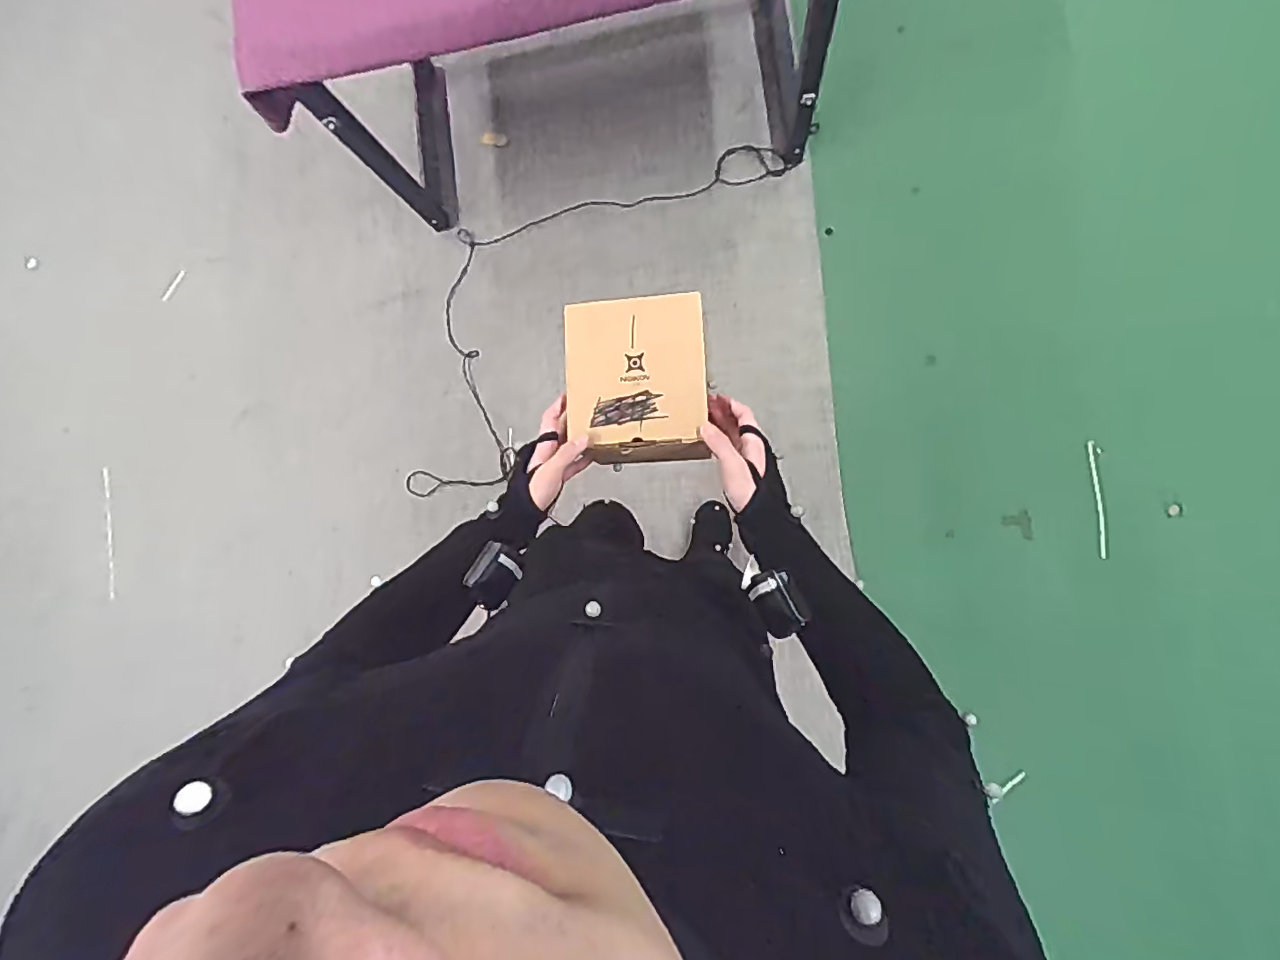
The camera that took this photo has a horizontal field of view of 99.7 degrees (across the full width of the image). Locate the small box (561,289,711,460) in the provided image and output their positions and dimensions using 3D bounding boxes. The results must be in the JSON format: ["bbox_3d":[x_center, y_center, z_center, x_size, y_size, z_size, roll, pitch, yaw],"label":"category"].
[{"bbox_3d":[0.003,-0.121,0.700,0.168,0.176,0.179,-4,84,8],"label":"small box"}]
